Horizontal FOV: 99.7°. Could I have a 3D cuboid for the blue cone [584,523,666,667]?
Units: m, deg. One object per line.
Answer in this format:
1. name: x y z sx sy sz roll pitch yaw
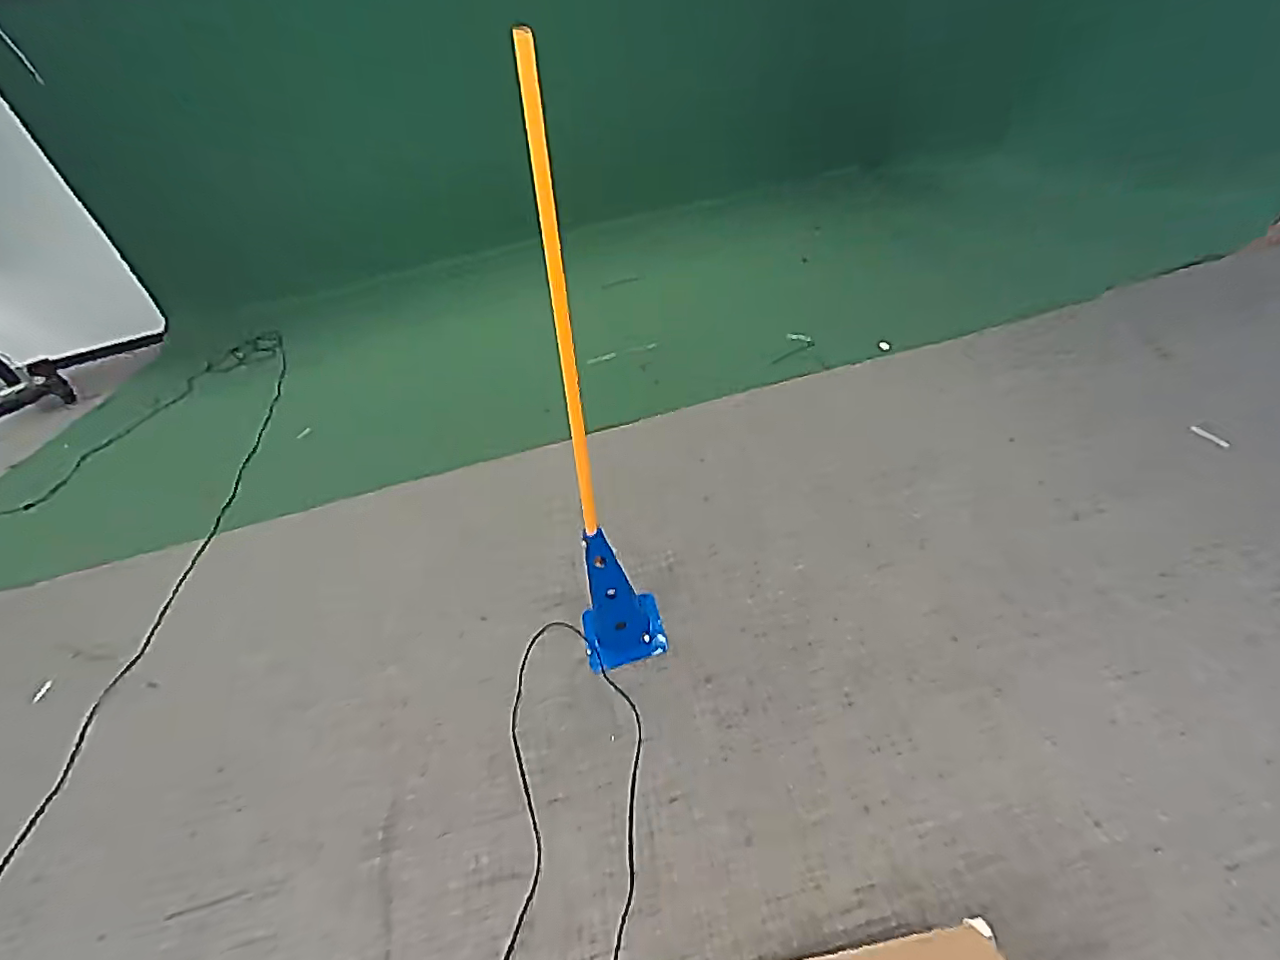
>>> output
1. blue cone: -0.069 0.245 1.272 0.193 0.380 0.192 -16 38 -6
